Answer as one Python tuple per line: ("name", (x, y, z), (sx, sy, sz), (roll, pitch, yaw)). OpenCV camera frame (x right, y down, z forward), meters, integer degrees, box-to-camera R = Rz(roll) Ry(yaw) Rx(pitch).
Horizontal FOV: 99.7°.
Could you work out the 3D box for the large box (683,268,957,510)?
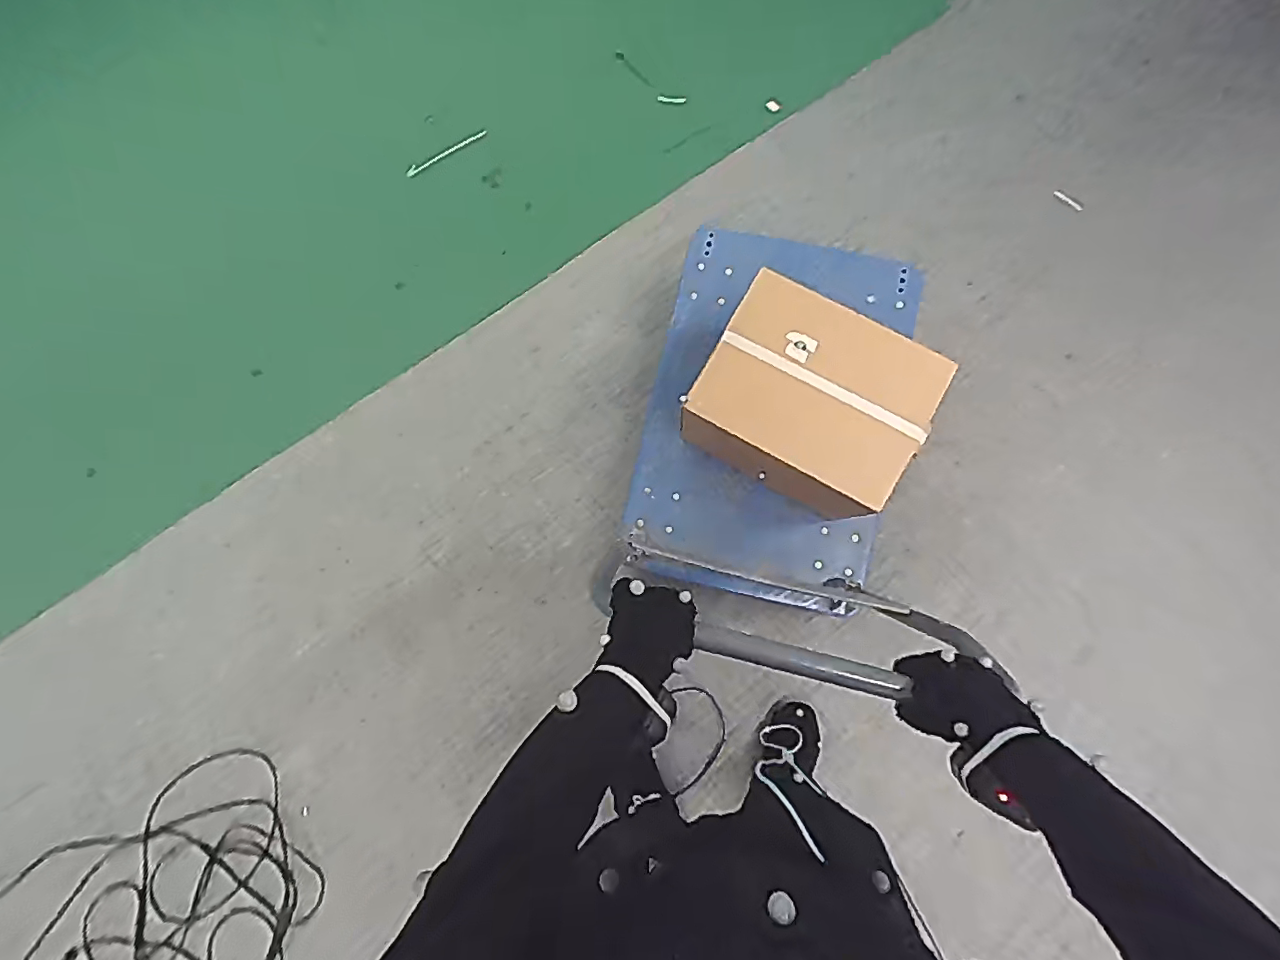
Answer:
("large box", (0.341, -0.163, 1.132), (0.408, 0.320, 0.320), (29, 87, 8))
